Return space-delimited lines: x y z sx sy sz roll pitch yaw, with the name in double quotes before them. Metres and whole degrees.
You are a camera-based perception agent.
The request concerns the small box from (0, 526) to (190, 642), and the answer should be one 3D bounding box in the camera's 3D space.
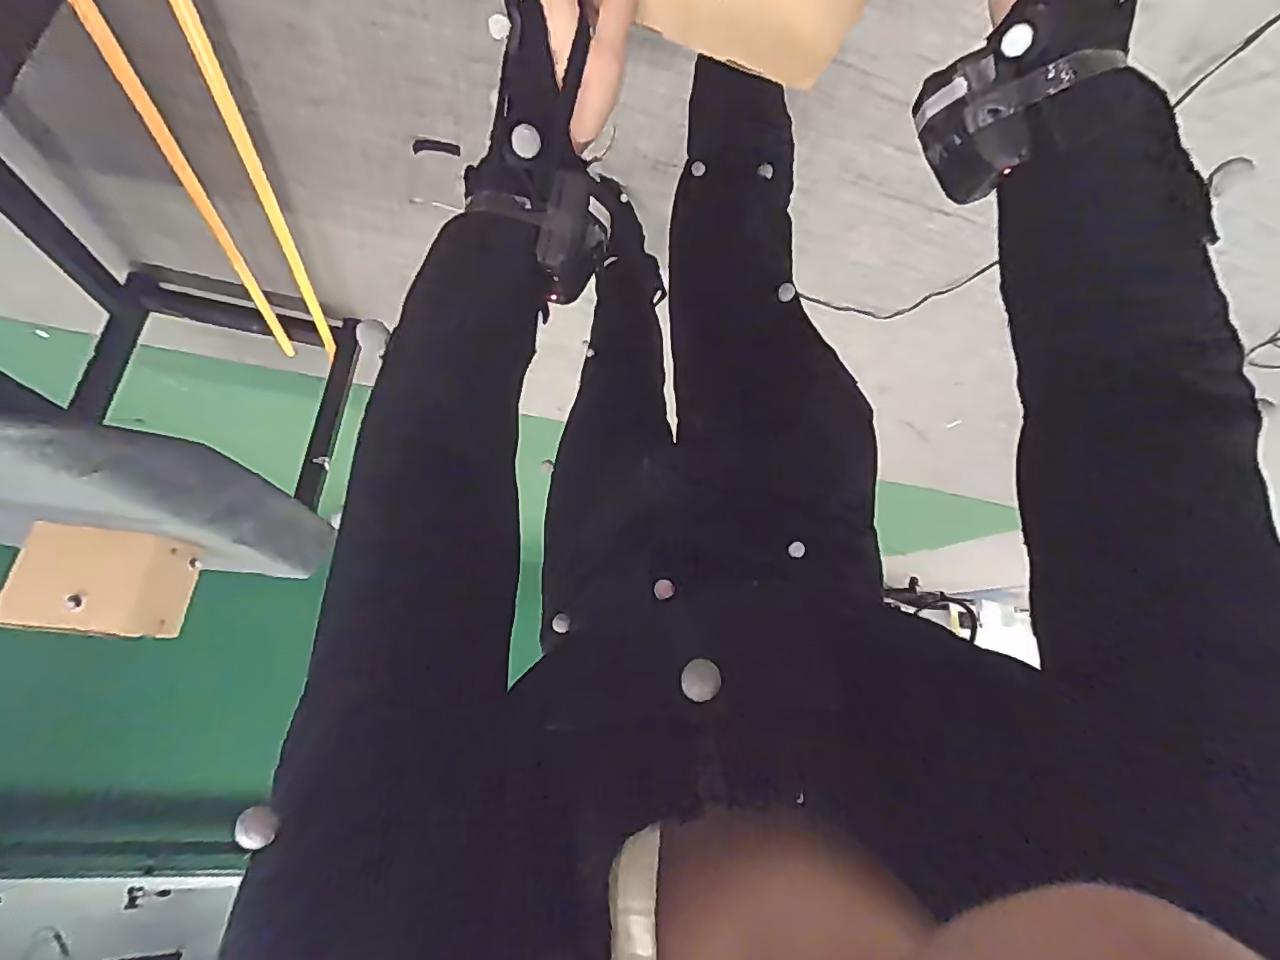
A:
"small box" -0.918 0.181 0.923 0.179 0.176 0.168 10 160 -11
